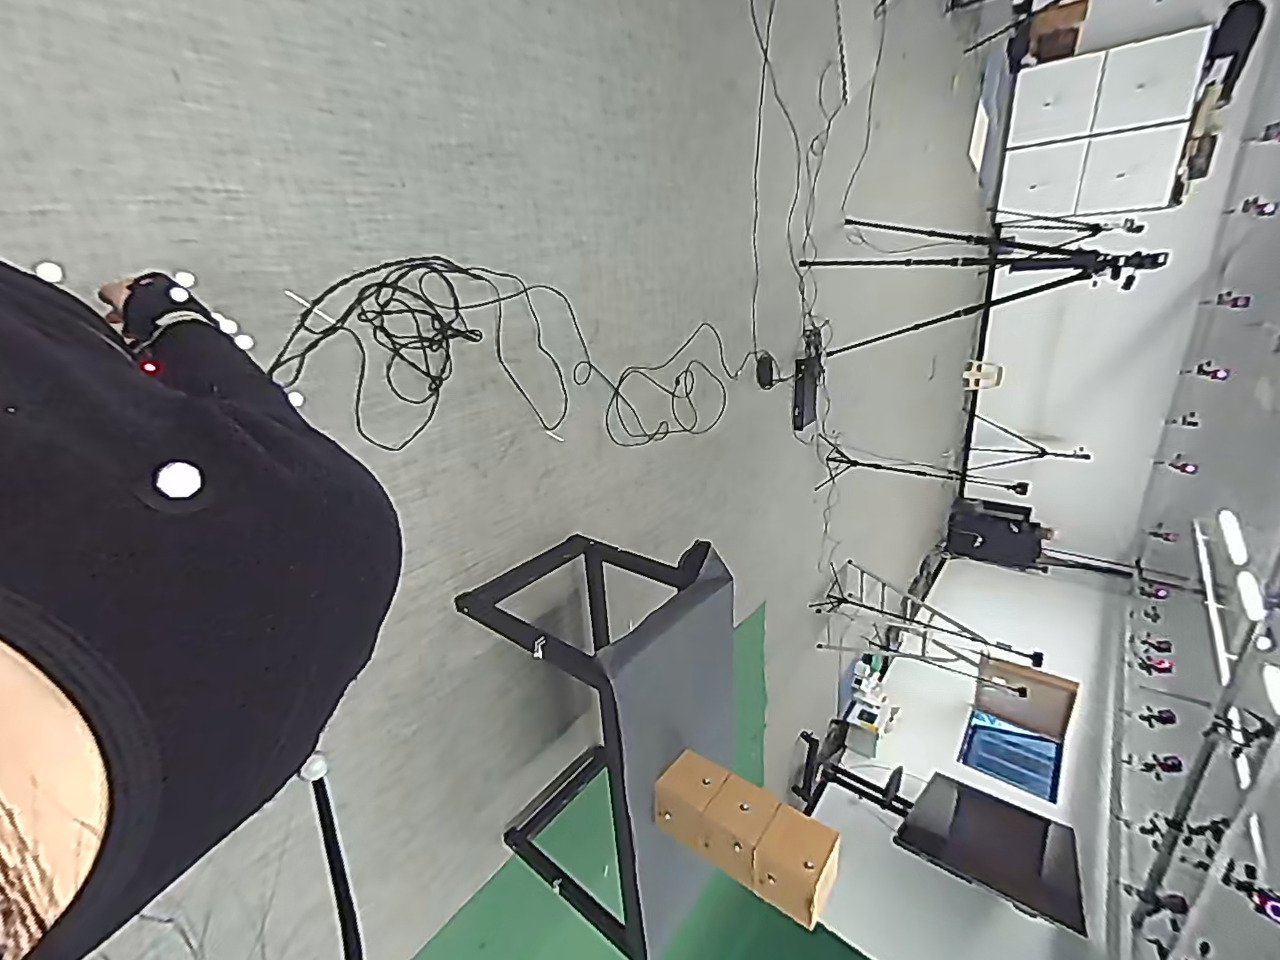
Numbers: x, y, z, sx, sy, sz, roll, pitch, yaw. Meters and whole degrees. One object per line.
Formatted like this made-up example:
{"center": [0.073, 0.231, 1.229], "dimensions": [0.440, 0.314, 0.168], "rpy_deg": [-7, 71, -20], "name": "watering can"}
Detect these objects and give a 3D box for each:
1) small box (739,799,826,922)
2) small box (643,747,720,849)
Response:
{"center": [0.386, 1.015, 1.463], "dimensions": [0.179, 0.176, 0.168], "rpy_deg": [-26, 121, -47], "name": "small box"}
{"center": [0.128, 0.960, 1.655], "dimensions": [0.179, 0.176, 0.168], "rpy_deg": [-20, 116, -48], "name": "small box"}
